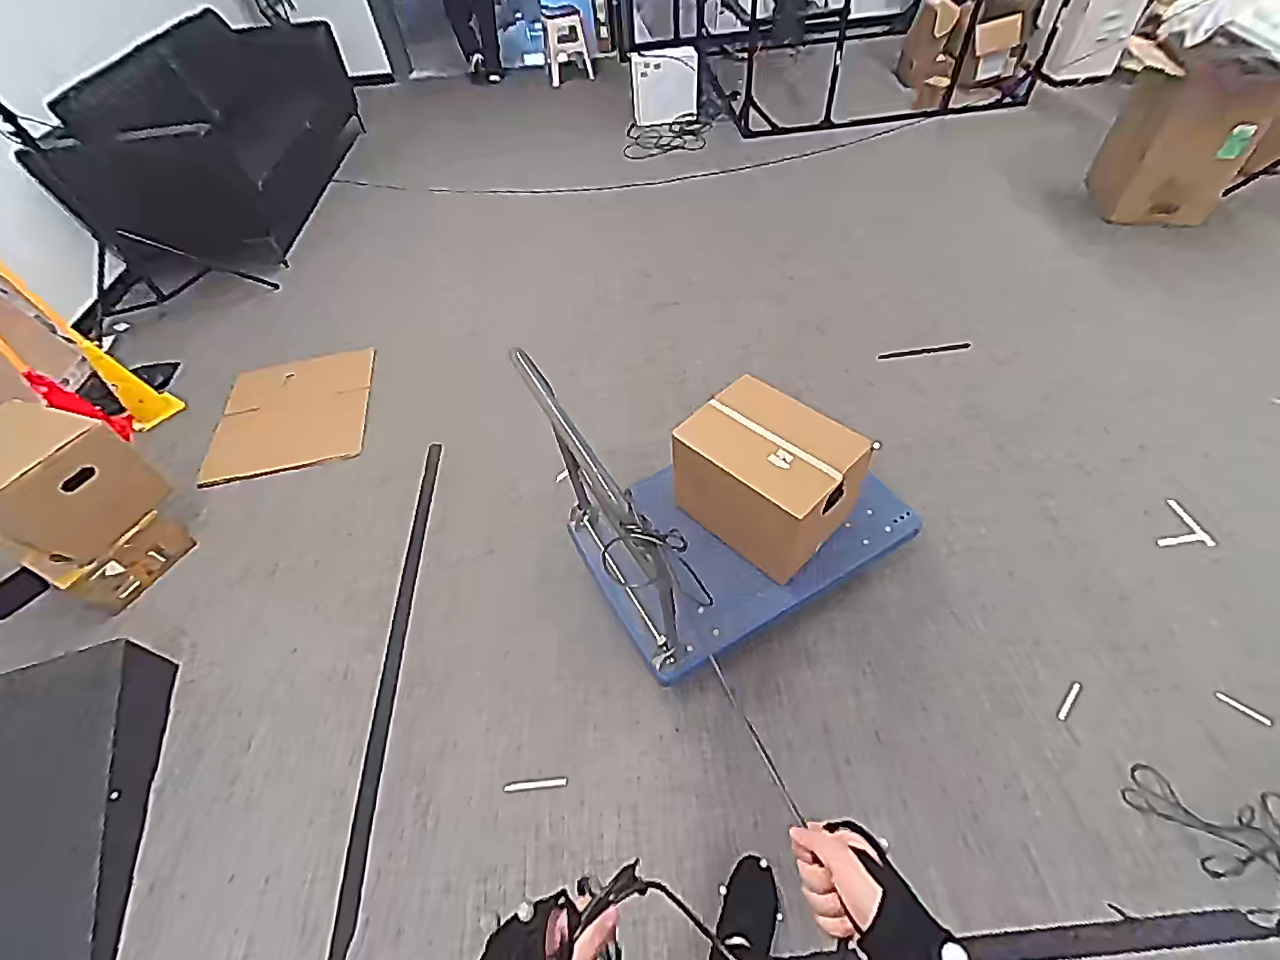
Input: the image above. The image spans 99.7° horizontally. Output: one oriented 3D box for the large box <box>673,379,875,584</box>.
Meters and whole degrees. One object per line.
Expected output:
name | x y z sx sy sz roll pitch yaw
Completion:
large box | 0.335 -0.002 1.462 0.320 0.320 0.408 -39 59 -23
